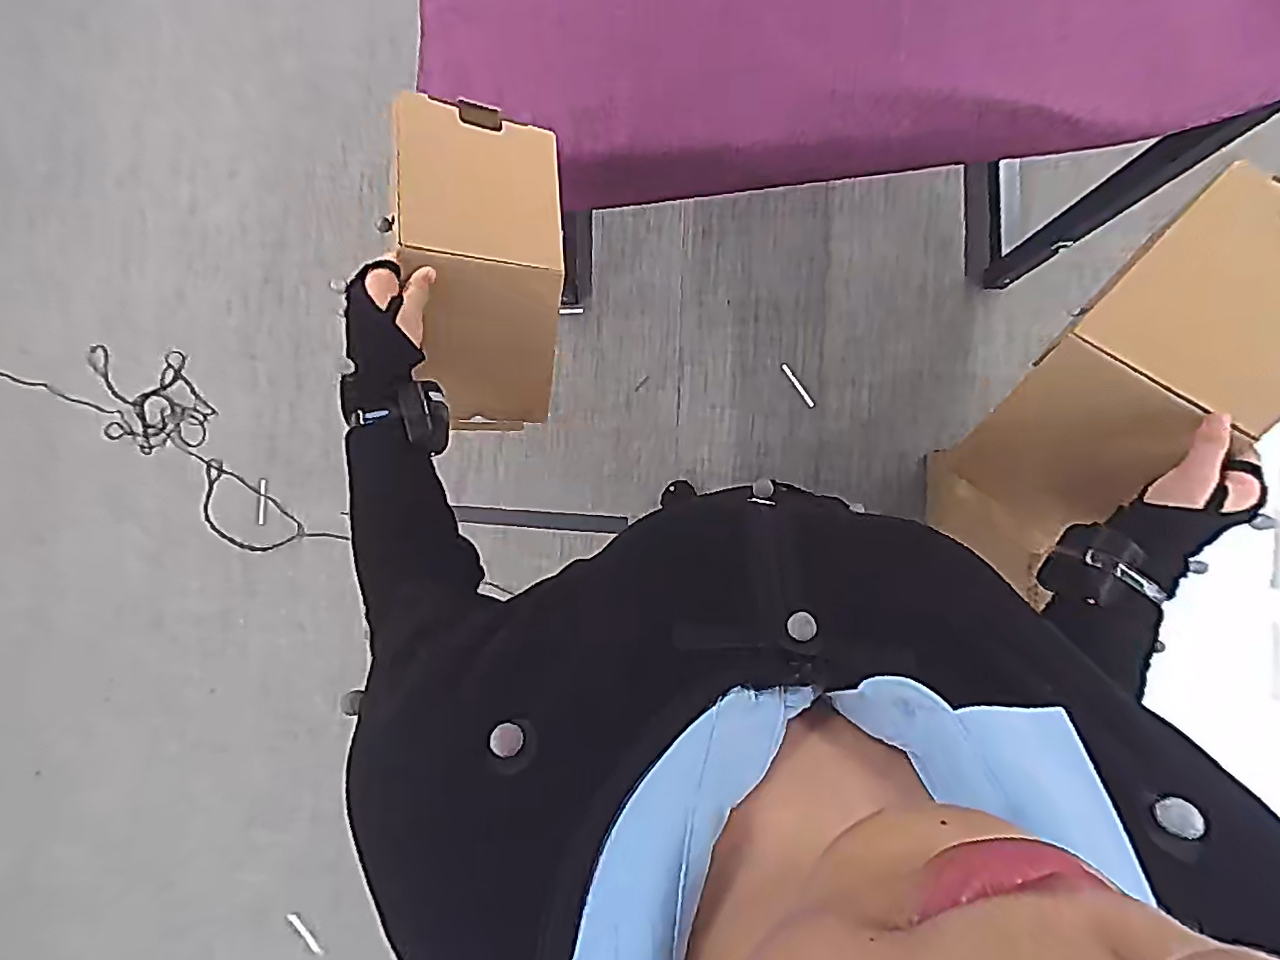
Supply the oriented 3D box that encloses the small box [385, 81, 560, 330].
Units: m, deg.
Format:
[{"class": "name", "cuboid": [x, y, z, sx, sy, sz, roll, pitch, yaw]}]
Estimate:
[{"class": "small box", "cuboid": [-0.199, -0.294, 0.625, 0.168, 0.176, 0.179, 1, 78, -28]}]
